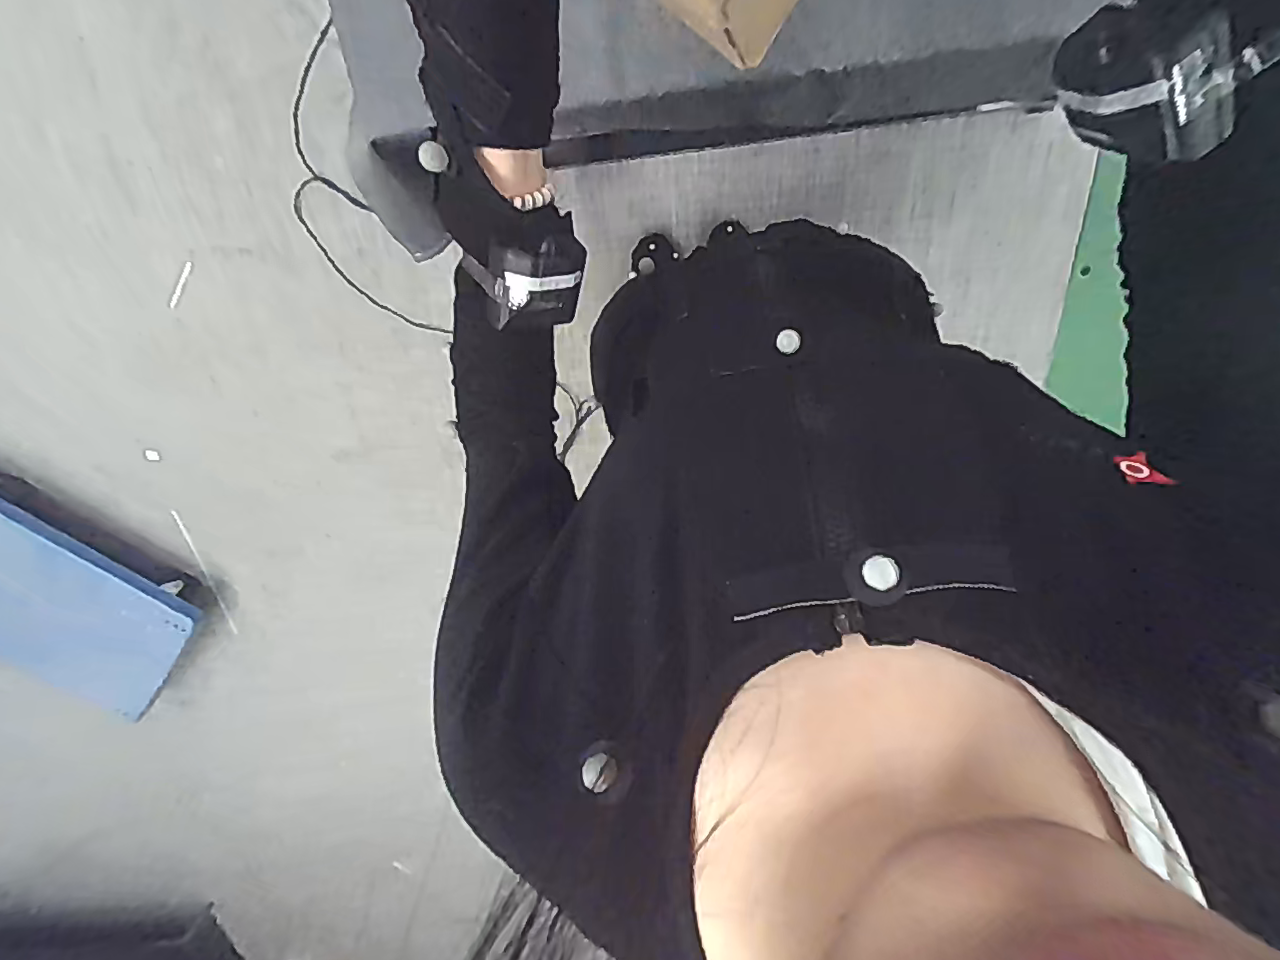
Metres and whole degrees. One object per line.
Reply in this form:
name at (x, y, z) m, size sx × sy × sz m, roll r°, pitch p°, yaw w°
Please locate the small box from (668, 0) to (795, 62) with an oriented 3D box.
small box at (0.015, -0.276, 0.144) m, size 0.176 × 0.168 × 0.179 m, roll 38°, pitch 118°, yaw -2°
